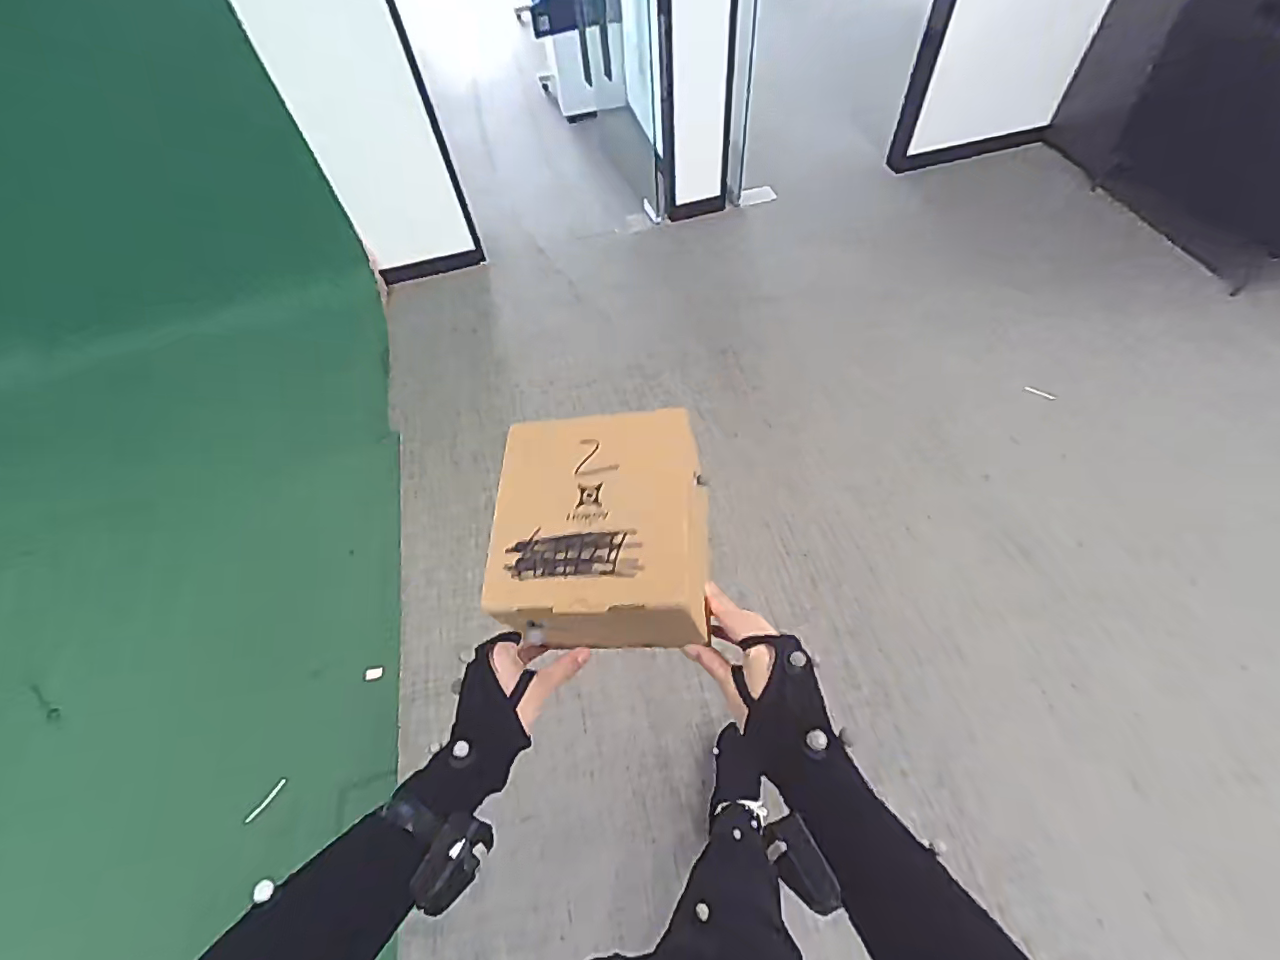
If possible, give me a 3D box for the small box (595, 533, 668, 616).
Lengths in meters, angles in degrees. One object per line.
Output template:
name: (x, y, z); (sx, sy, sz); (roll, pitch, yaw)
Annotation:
small box: (-0.021, 0.283, 1.589); (0.179, 0.176, 0.168); (-14, 56, -5)
